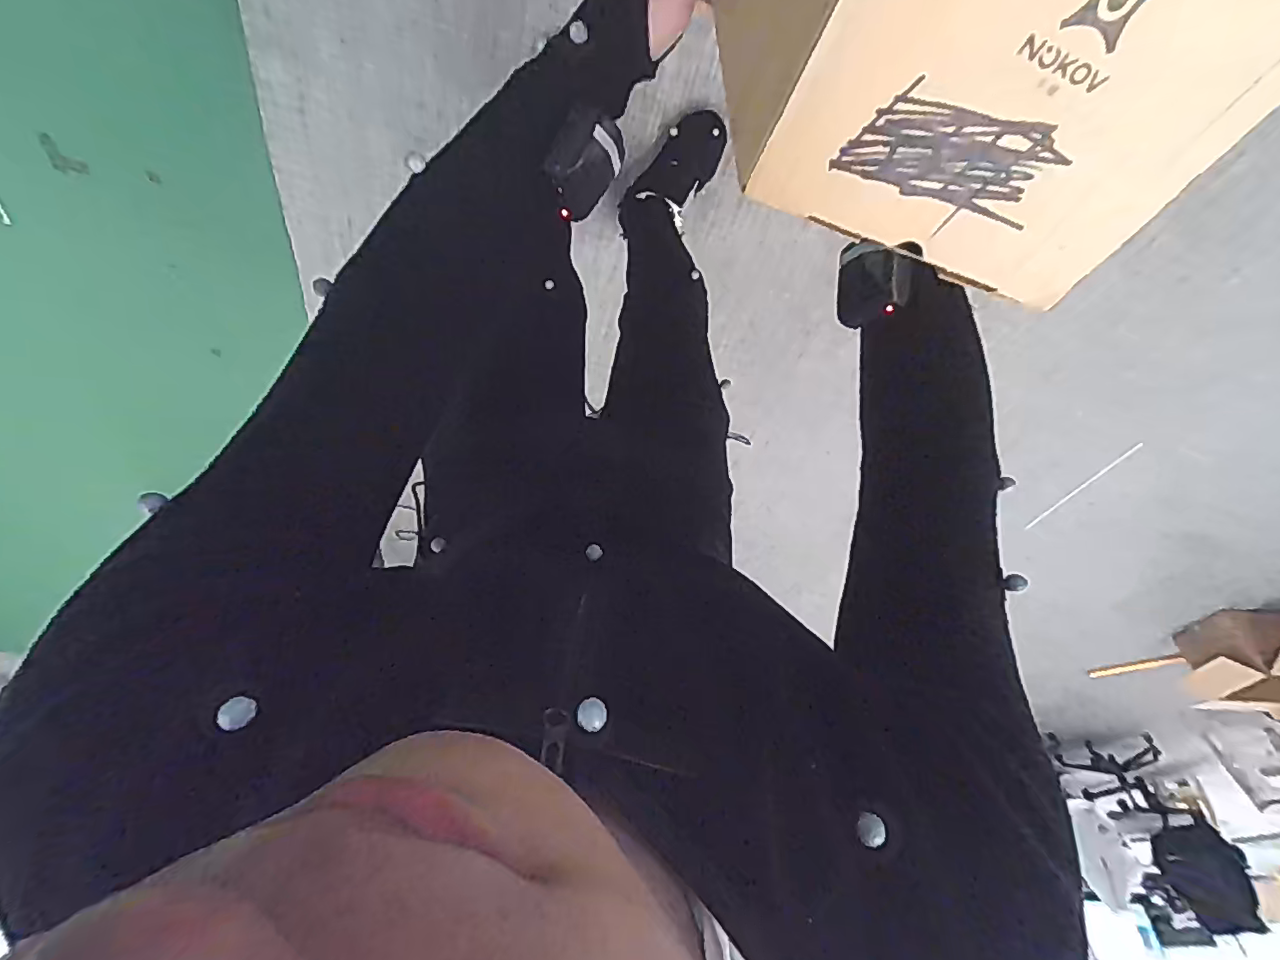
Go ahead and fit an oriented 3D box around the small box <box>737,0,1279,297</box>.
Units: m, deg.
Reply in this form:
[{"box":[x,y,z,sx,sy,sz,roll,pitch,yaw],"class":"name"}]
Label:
[{"box":[0.151,-0.218,0.226,0.168,0.176,0.179,13,142,-15],"class":"small box"}]
